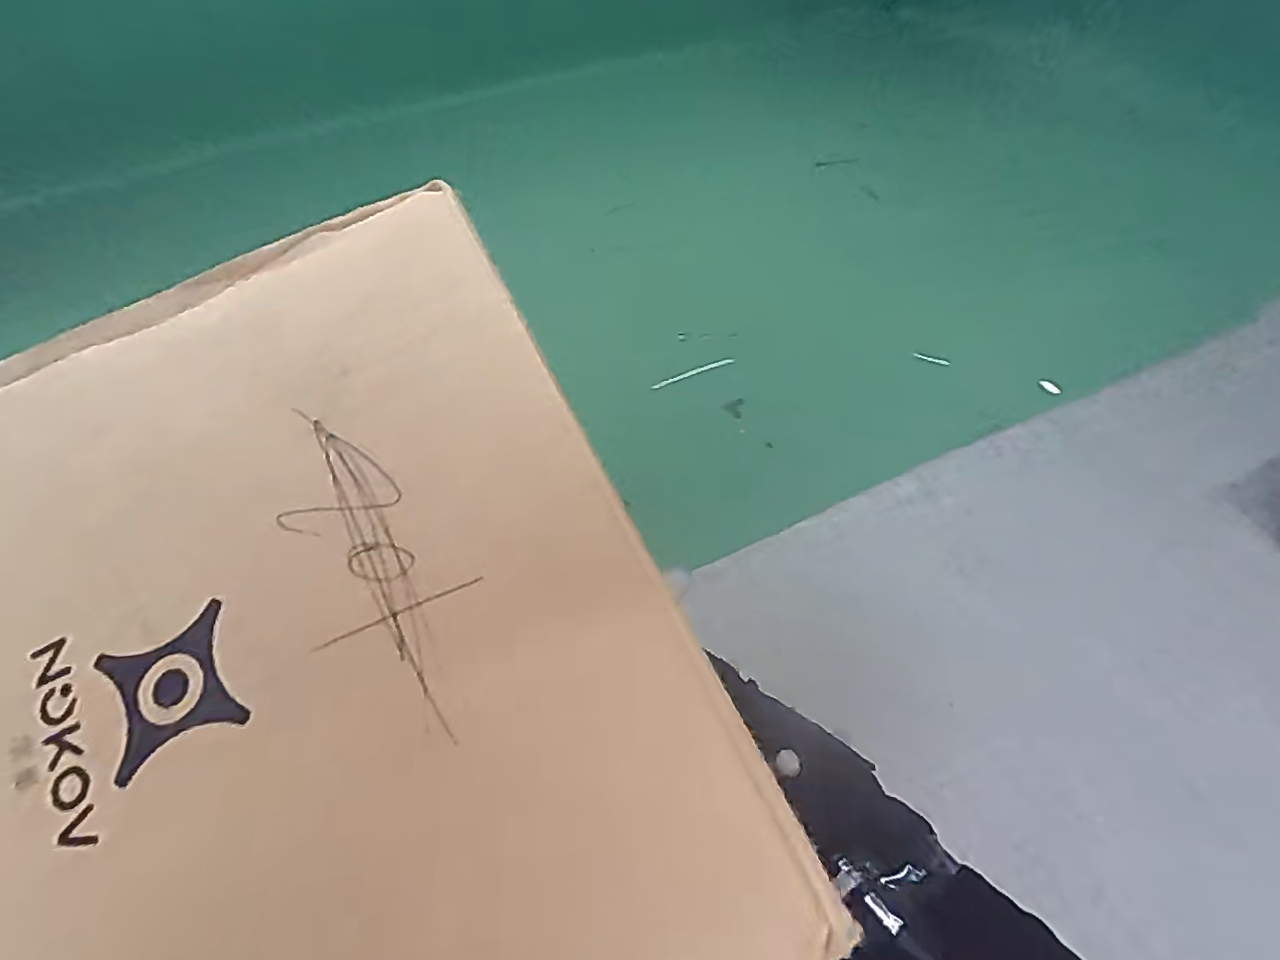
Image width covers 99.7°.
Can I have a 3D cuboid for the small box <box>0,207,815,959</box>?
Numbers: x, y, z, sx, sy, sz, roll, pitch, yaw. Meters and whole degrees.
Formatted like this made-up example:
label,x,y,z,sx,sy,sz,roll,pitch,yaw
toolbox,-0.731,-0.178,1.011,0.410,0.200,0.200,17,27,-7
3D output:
label,x,y,z,sx,sy,sz,roll,pitch,yaw
small box,-0.078,0.064,0.175,0.179,0.176,0.168,-27,73,-6
